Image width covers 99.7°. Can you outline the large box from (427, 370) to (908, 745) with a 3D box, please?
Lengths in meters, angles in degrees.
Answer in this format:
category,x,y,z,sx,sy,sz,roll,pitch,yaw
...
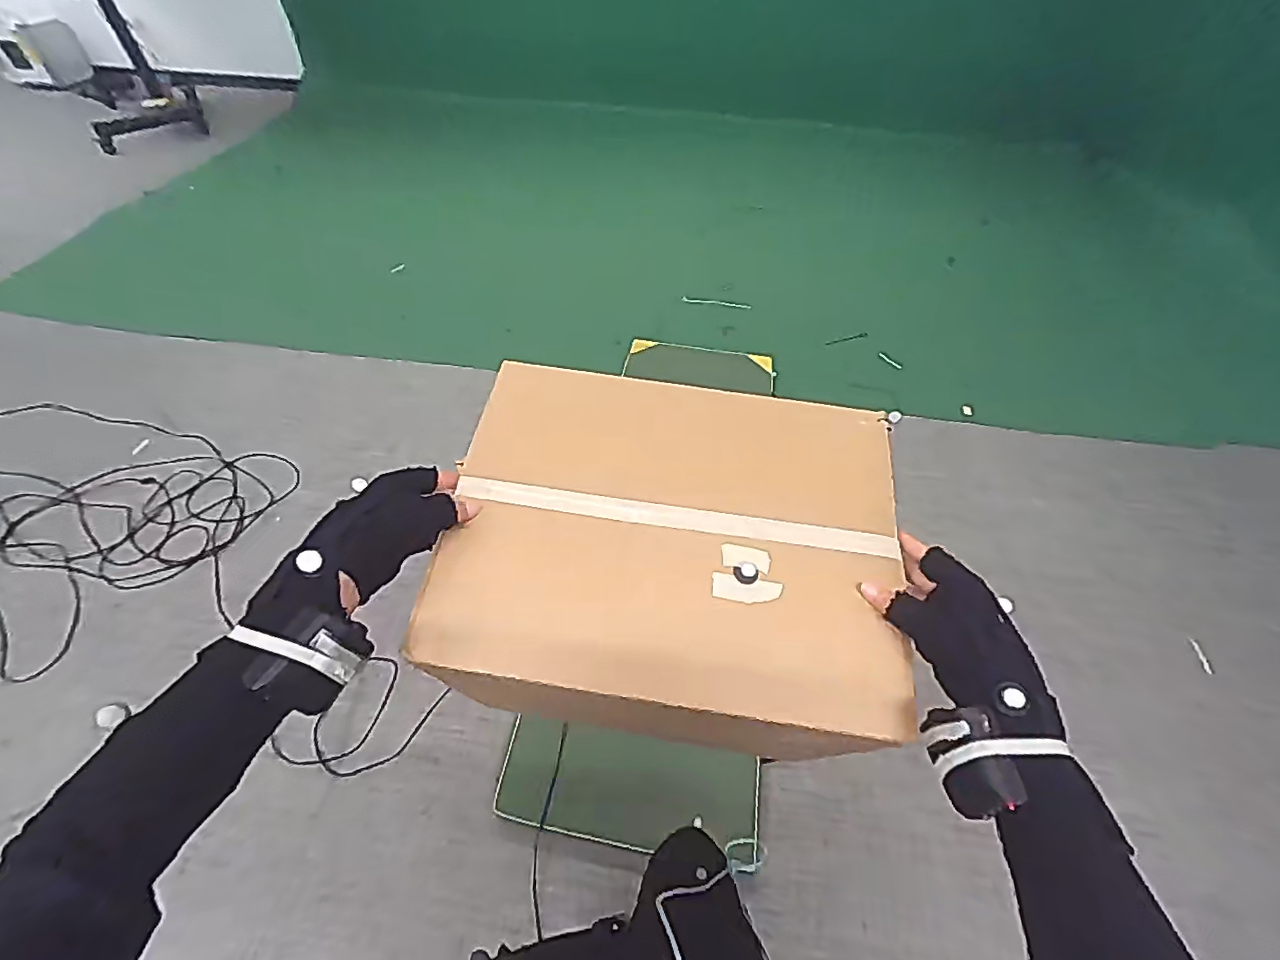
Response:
category,x,y,z,sx,sy,sz,roll,pitch,yaw
large box,0.031,0.108,0.638,0.408,0.320,0.320,8,61,2
